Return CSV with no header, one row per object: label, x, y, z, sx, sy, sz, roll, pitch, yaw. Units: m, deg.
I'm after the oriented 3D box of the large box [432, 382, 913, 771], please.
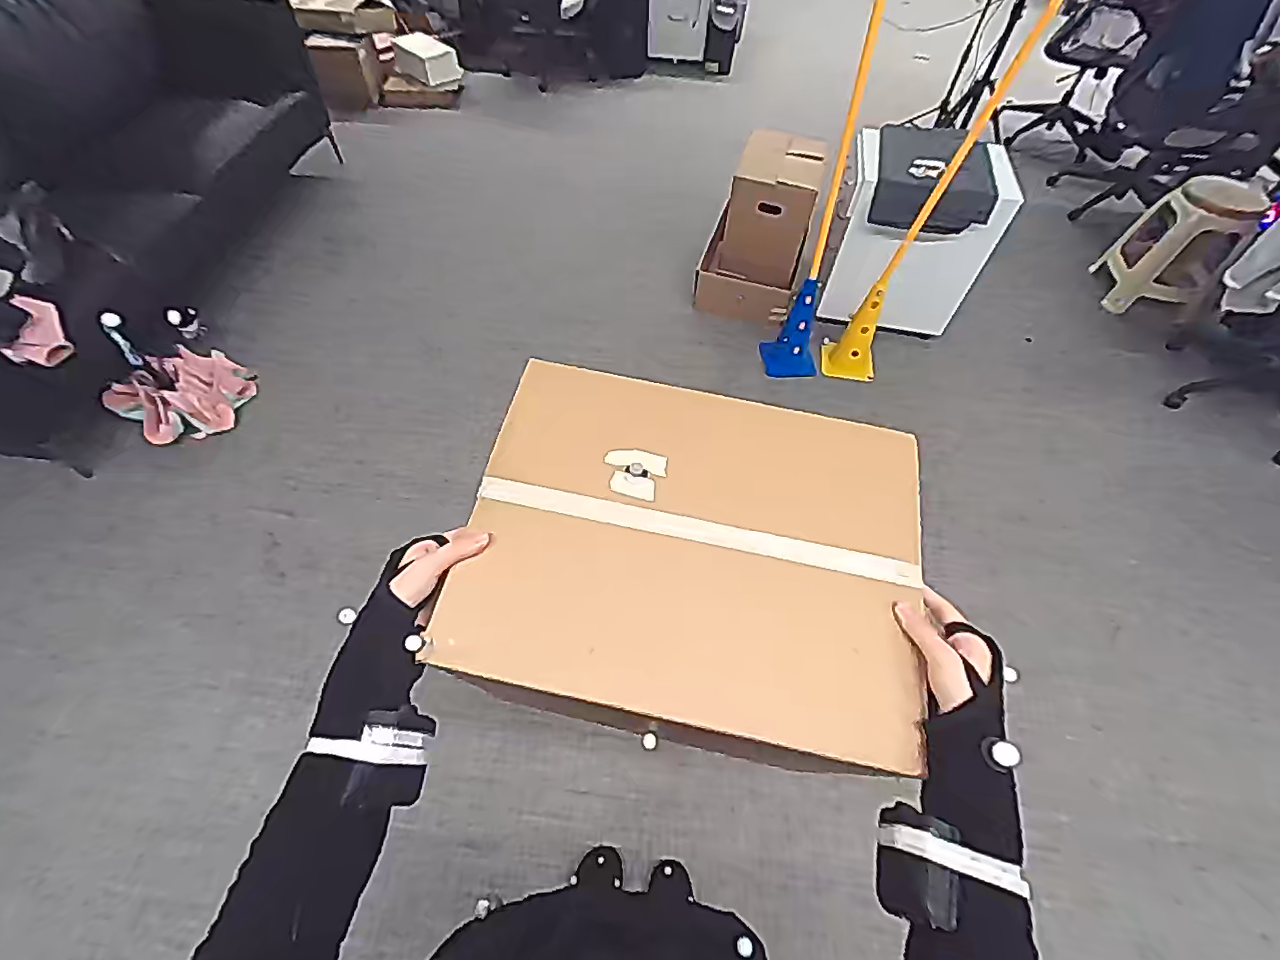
large box,0.046,0.128,0.635,0.408,0.320,0.320,11,62,4
